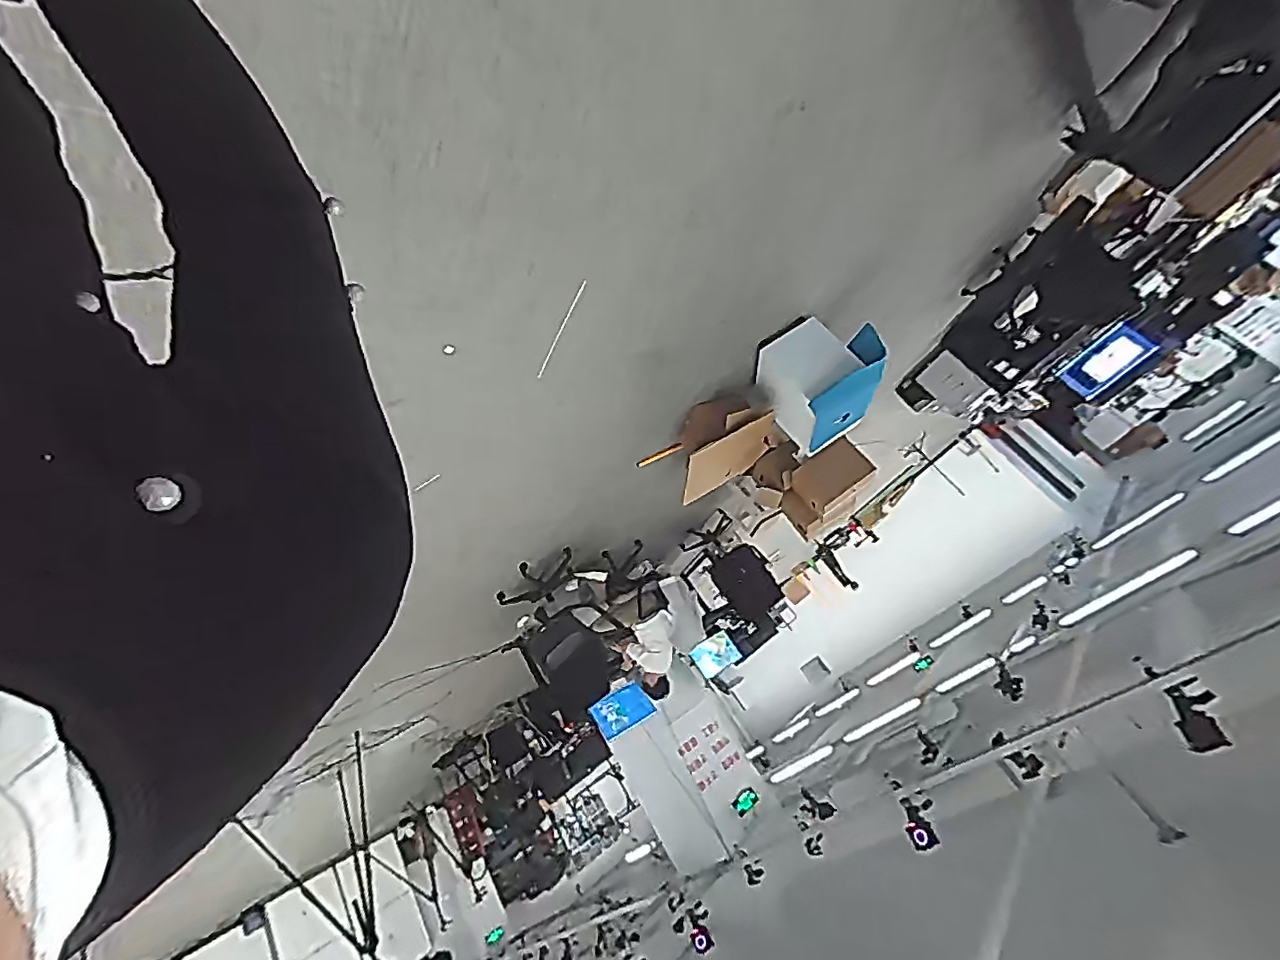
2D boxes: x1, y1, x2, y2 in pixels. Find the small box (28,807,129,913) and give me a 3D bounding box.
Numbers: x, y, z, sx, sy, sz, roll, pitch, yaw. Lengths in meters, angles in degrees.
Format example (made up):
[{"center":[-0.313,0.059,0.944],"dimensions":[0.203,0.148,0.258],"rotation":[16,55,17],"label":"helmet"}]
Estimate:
[{"center":[-1.560,1.052,1.506],"dimensions":[0.168,0.176,0.179],"rotation":[-13,148,-42],"label":"small box"}]
